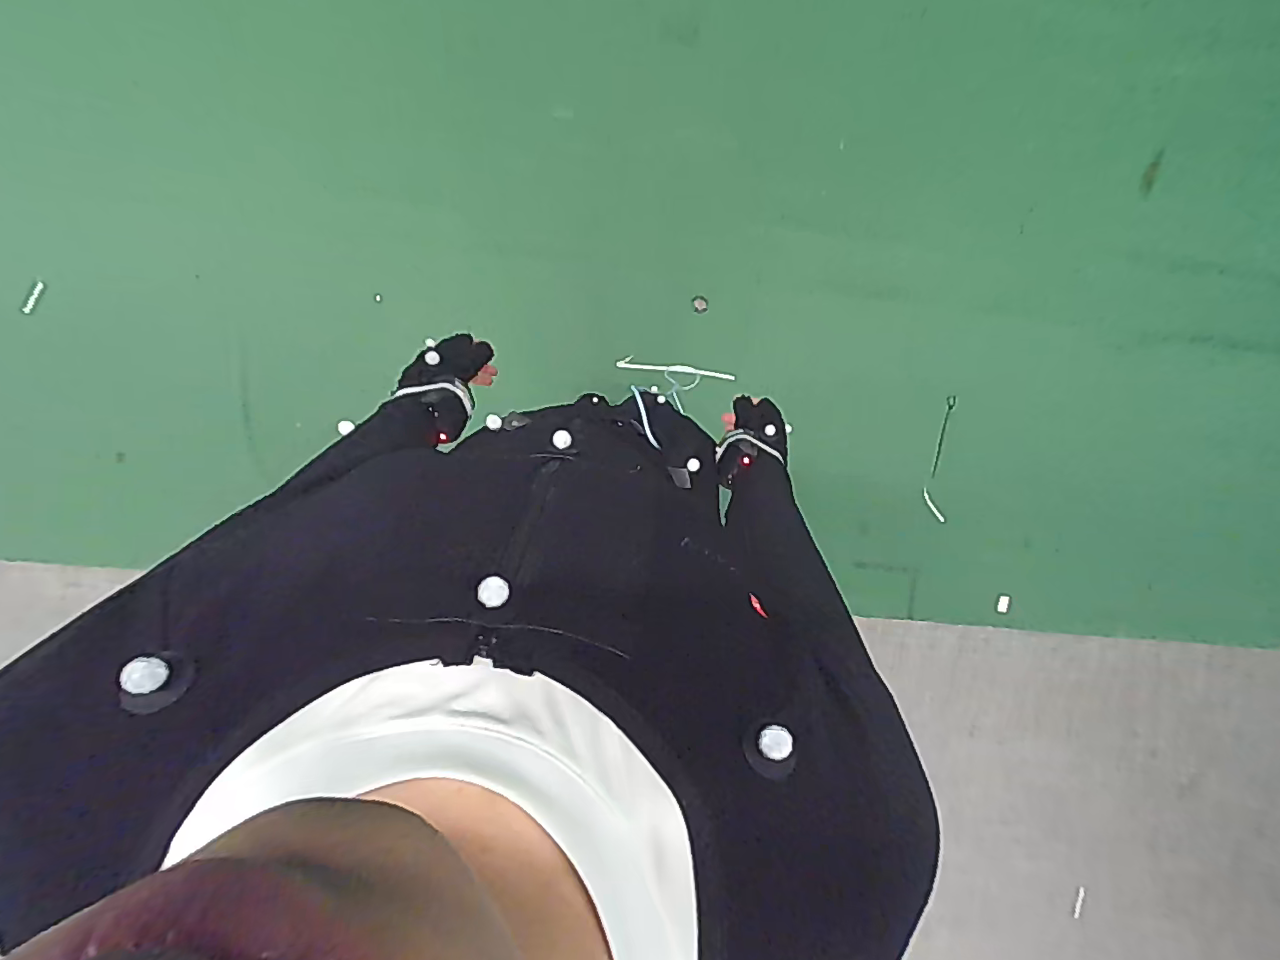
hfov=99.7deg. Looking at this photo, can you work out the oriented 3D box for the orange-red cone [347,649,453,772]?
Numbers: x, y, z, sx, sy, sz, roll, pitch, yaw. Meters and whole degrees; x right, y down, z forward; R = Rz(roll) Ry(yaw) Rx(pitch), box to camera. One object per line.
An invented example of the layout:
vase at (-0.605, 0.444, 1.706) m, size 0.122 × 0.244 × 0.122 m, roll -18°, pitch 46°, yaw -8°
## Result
orange-red cone at (-0.621, 0.596, 1.343) m, size 0.198 × 0.360 × 0.199 m, roll 5°, pitch 98°, yaw -3°
